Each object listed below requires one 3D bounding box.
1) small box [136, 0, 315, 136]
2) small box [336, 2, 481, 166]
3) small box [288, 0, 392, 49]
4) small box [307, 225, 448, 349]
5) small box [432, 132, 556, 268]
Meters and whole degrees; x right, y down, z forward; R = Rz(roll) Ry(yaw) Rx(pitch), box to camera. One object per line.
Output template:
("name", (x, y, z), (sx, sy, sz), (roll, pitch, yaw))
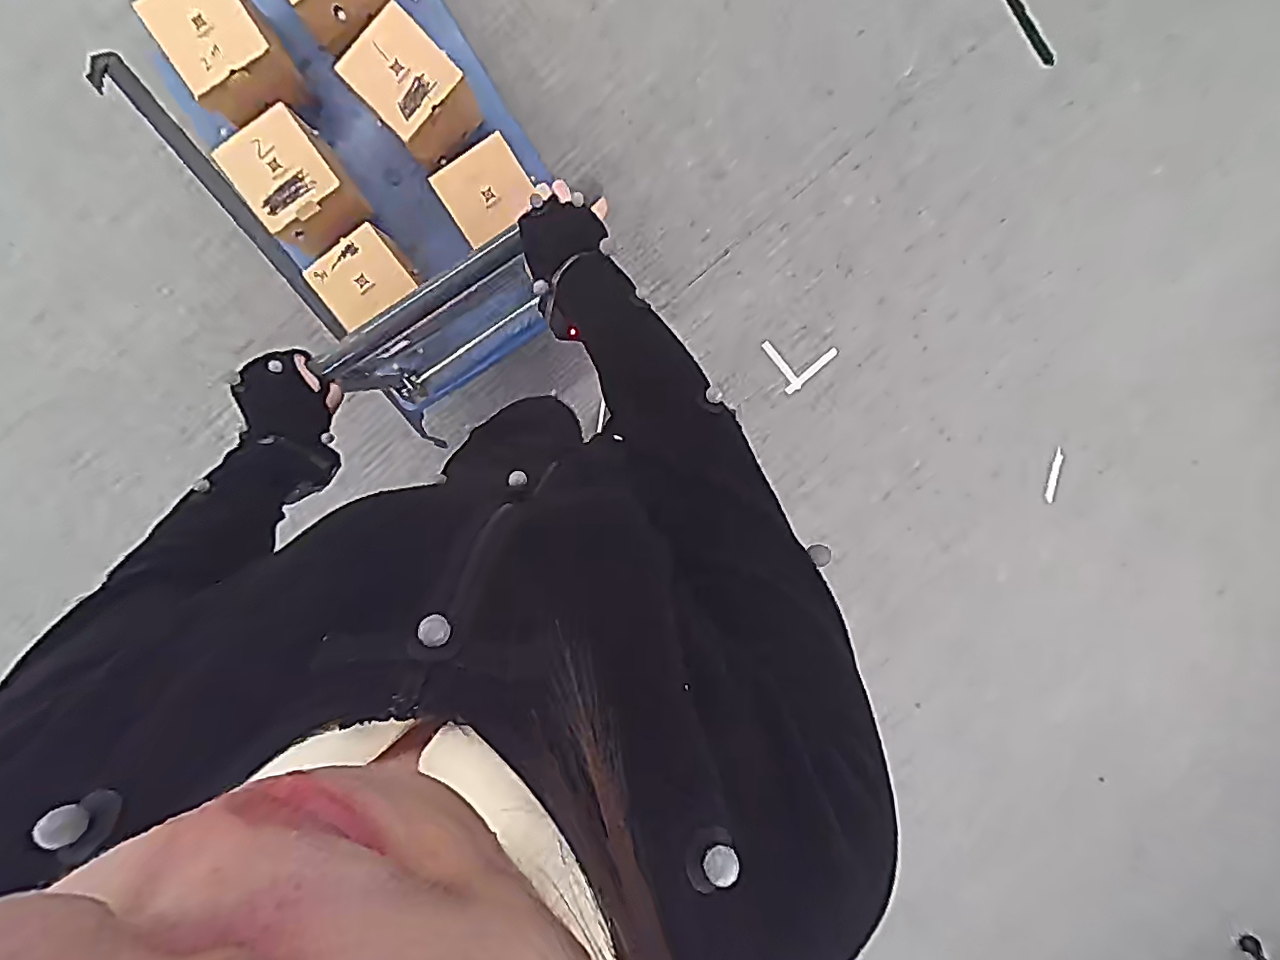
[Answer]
("small box", (-0.781, -0.815, 1.041), (0.168, 0.176, 0.179), (-32, 101, 2))
("small box", (-0.444, -0.764, 1.073), (0.179, 0.176, 0.168), (43, 95, -9))
("small box", (-0.610, -0.975, 1.026), (0.168, 0.176, 0.179), (-37, 100, 3))
("small box", (-0.534, -0.391, 1.131), (0.168, 0.176, 0.179), (-38, 100, 2))
("small box", (-0.290, -0.562, 1.120), (0.168, 0.176, 0.179), (-33, 100, 2))
